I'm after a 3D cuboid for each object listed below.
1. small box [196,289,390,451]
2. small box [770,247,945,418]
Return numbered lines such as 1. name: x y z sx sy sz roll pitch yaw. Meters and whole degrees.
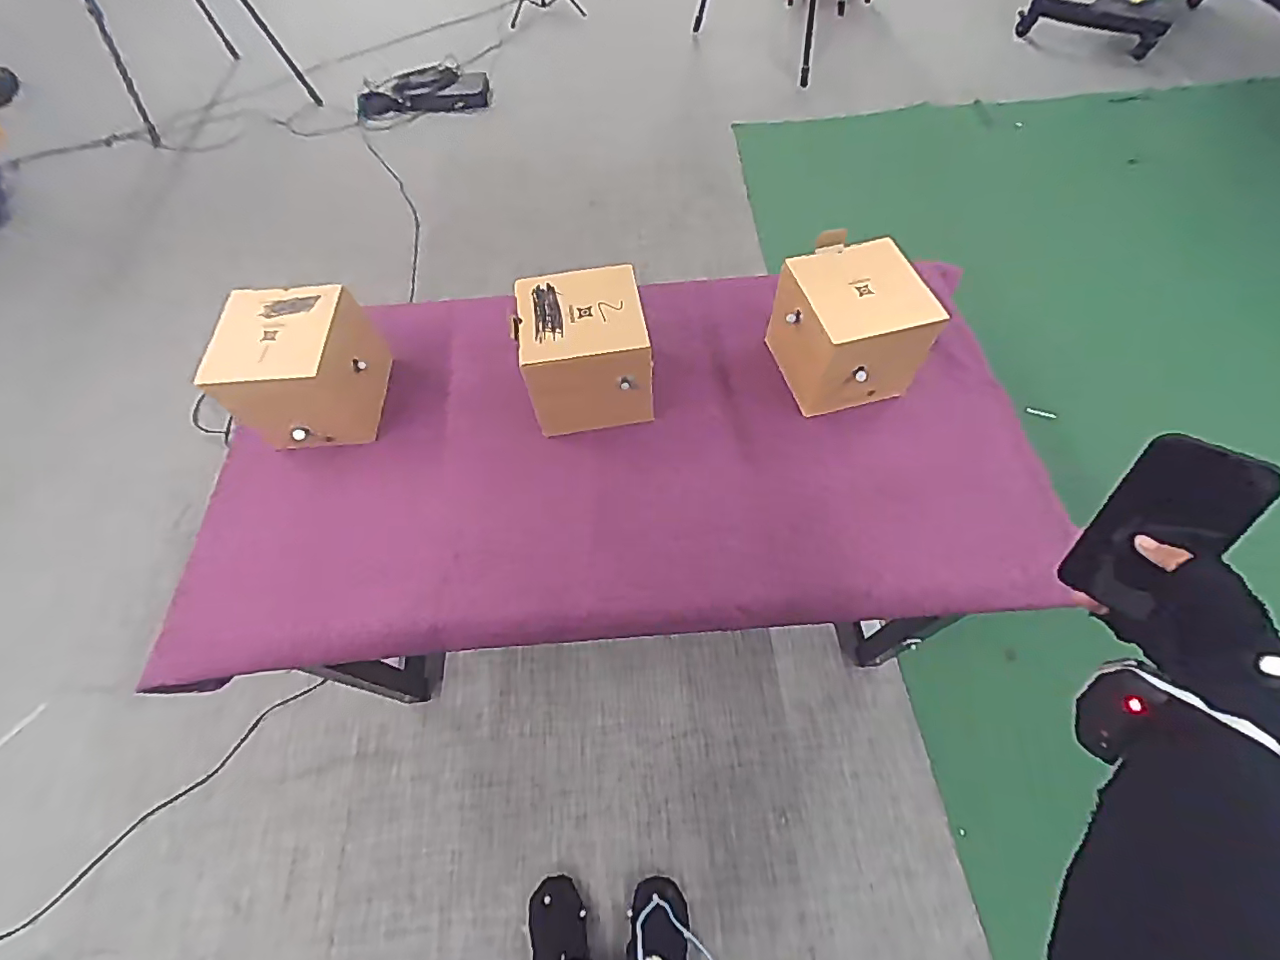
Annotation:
1. small box: -0.502 -0.162 0.817 0.168 0.176 0.179 -3 62 0
2. small box: 0.311 -0.212 0.815 0.168 0.176 0.179 -13 60 -5
